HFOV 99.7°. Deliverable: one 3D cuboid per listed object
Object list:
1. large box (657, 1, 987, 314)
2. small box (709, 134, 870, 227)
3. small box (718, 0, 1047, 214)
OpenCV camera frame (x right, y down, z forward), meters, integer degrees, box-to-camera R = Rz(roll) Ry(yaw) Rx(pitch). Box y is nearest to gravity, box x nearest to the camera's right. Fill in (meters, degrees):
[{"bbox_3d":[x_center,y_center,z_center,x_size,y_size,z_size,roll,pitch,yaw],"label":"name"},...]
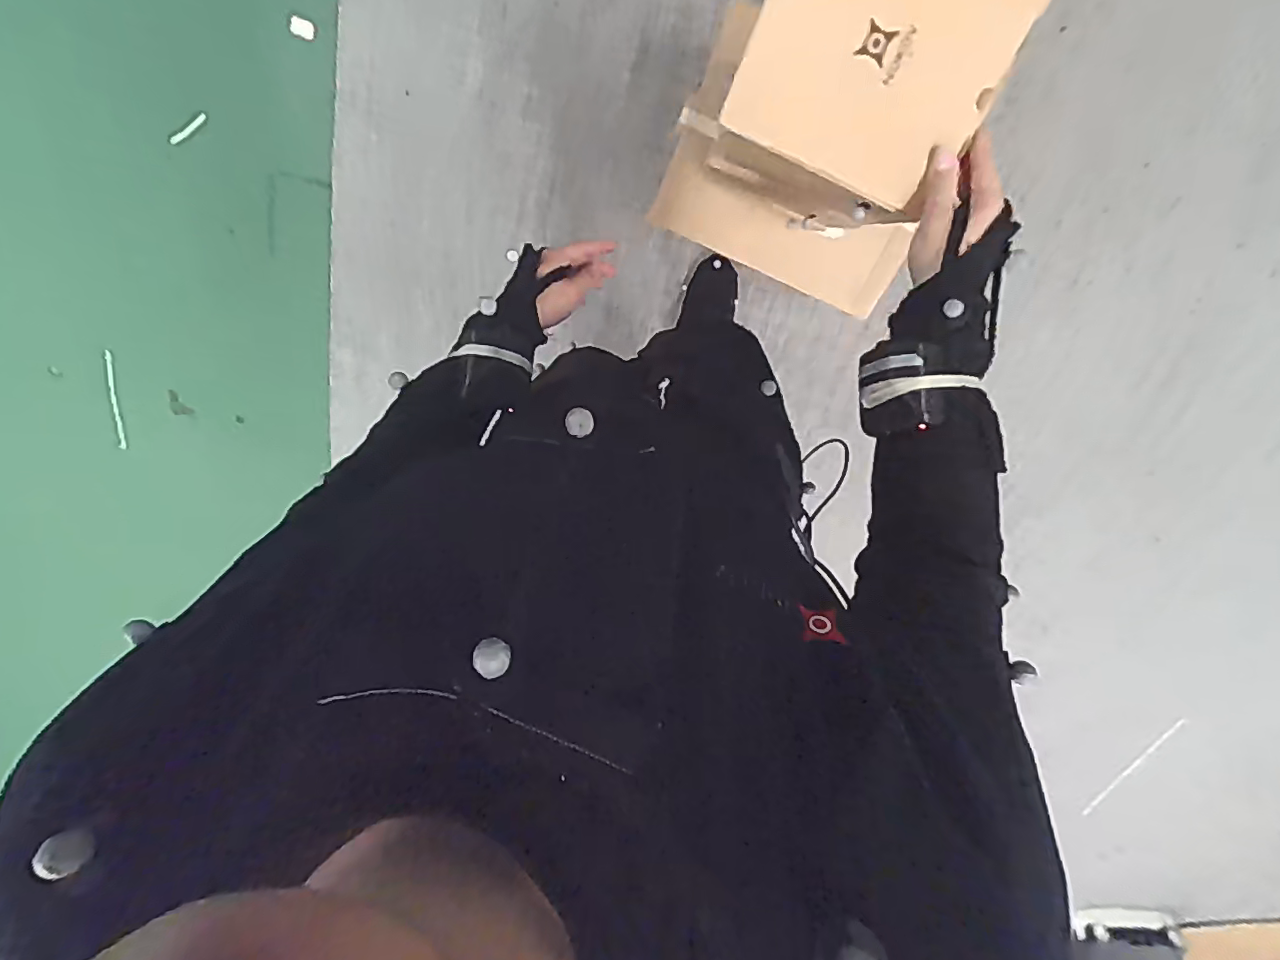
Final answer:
[{"bbox_3d":[0.279,-0.539,0.964,0.408,0.320,0.320,23,117,-3],"label":"large box"},{"bbox_3d":[0.187,-0.394,0.593,0.179,0.176,0.168,21,115,-1],"label":"small box"},{"bbox_3d":[0.174,-0.333,0.443,0.179,0.176,0.168,23,115,-4],"label":"small box"}]
